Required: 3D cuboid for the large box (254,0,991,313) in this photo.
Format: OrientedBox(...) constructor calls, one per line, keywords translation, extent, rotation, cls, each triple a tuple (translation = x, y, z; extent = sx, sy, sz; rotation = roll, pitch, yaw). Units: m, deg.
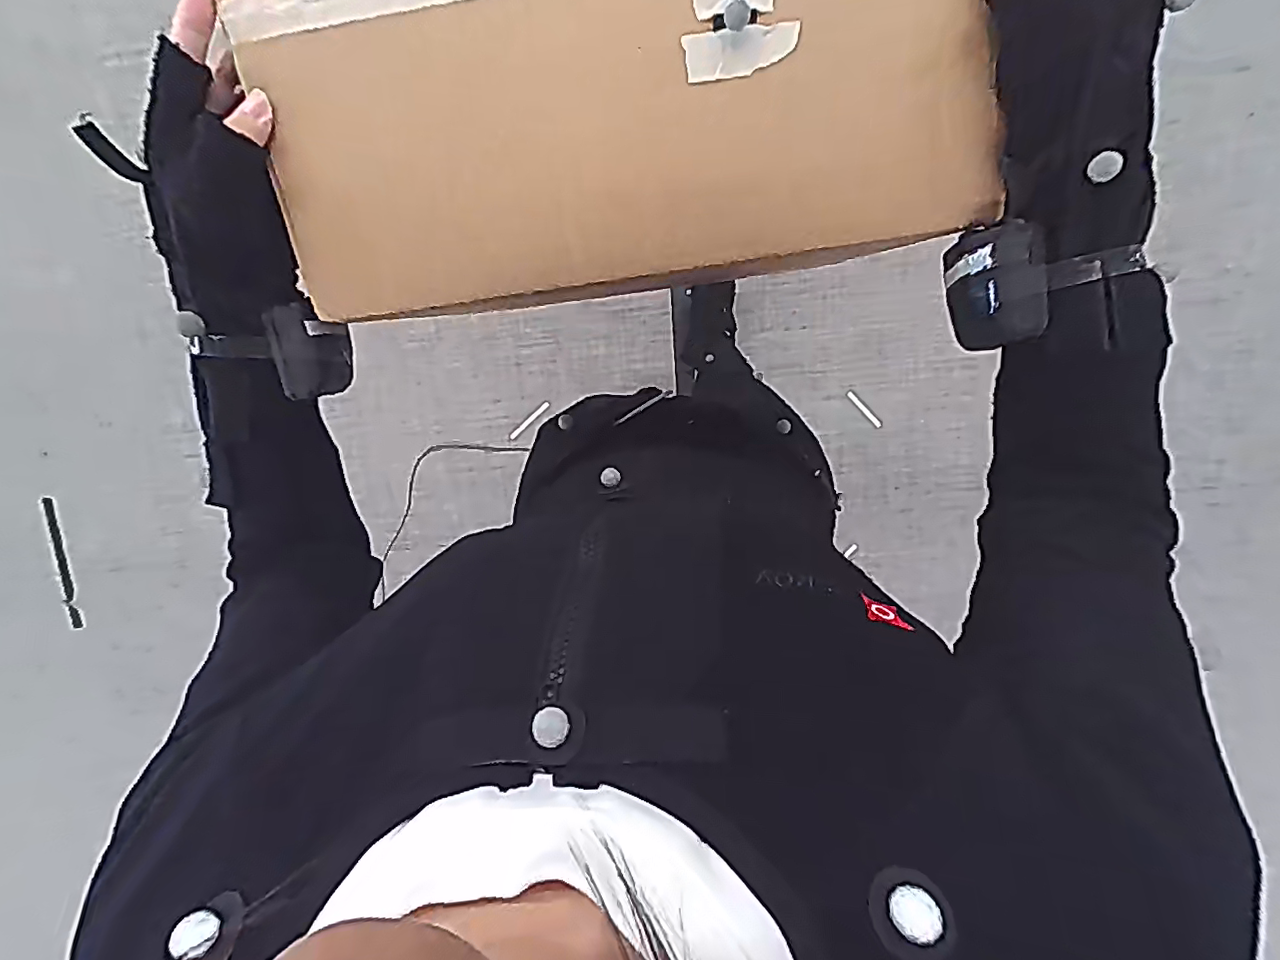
OrientedBox(translation=(-0.013, -0.324, 0.428), extent=(0.408, 0.320, 0.320), rotation=(-7, 108, 5), cls="large box")
